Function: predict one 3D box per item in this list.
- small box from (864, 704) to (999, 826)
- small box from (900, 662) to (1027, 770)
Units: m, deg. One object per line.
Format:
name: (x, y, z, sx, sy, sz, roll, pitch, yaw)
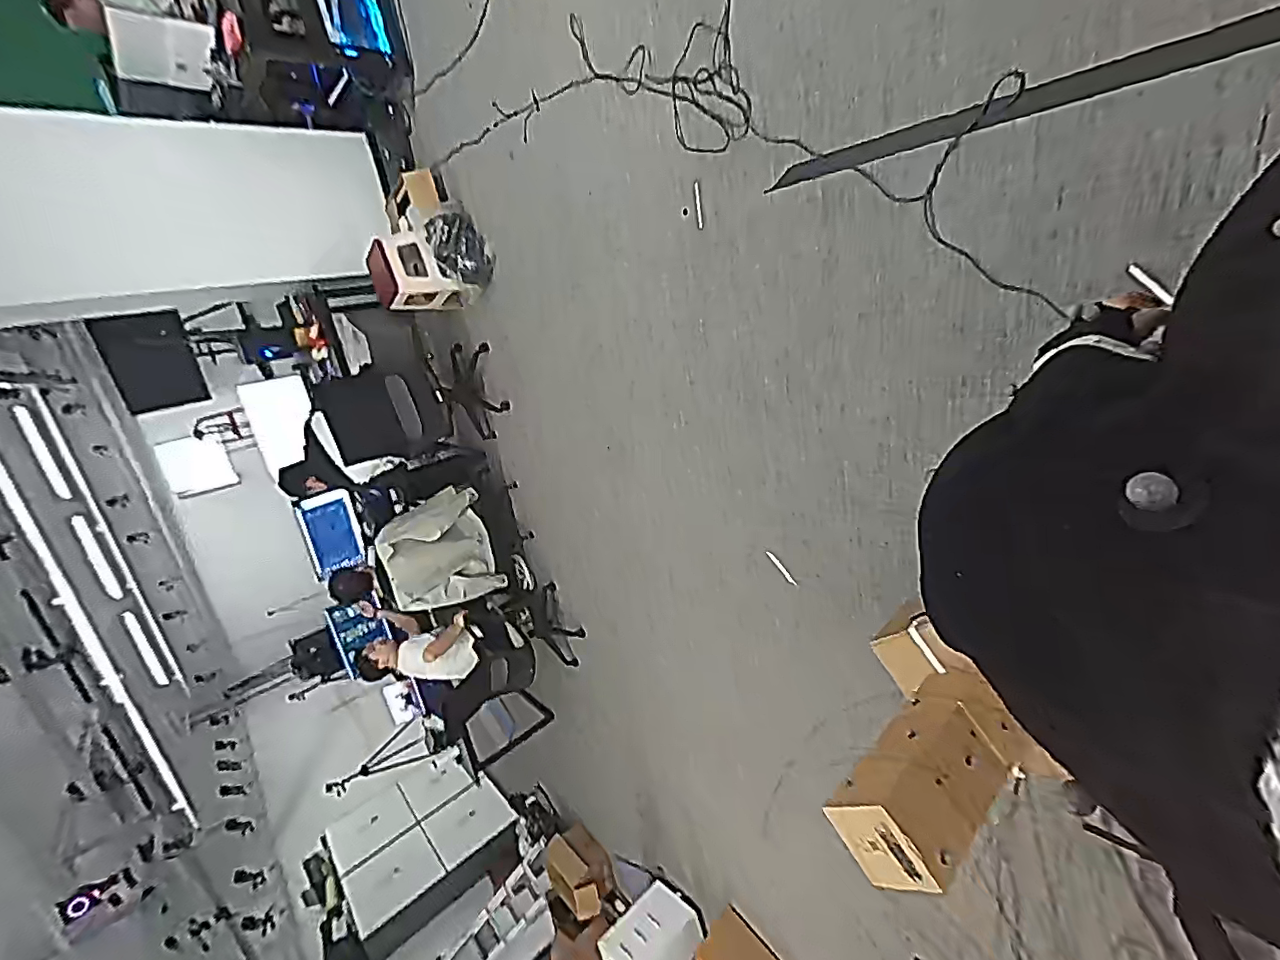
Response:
small box: (0.631, 0.607, 1.162, 0.168, 0.176, 0.179, 57, 143, 13)
small box: (0.754, 0.547, 1.252, 0.168, 0.176, 0.179, 56, 143, 13)
